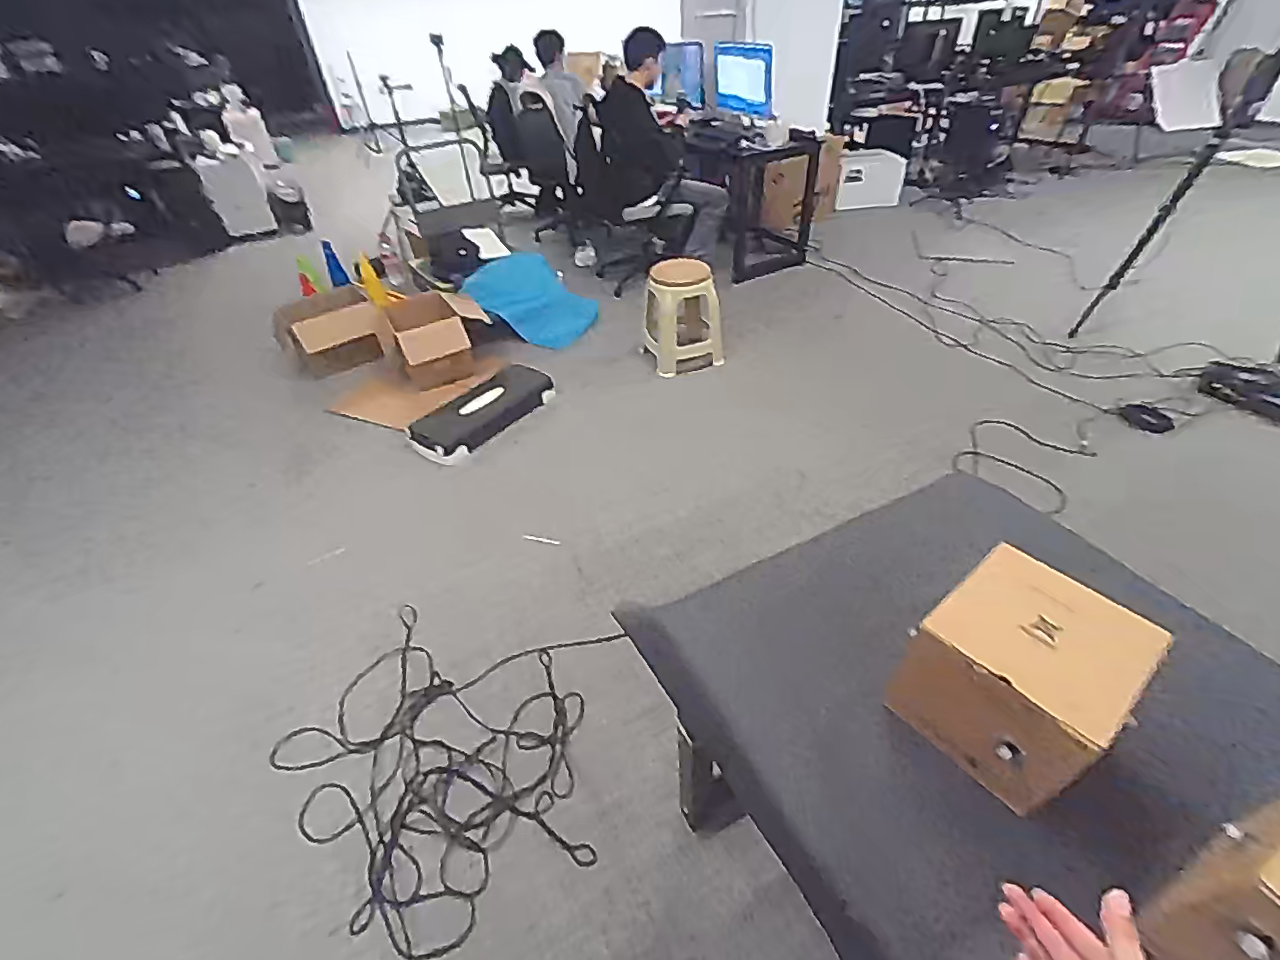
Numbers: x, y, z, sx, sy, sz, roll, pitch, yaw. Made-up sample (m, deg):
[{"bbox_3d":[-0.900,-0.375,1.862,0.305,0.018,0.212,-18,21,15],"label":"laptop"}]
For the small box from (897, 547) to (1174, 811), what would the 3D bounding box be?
[{"bbox_3d":[0.408,0.214,0.590,0.179,0.176,0.168,-29,47,-27],"label":"small box"}]
